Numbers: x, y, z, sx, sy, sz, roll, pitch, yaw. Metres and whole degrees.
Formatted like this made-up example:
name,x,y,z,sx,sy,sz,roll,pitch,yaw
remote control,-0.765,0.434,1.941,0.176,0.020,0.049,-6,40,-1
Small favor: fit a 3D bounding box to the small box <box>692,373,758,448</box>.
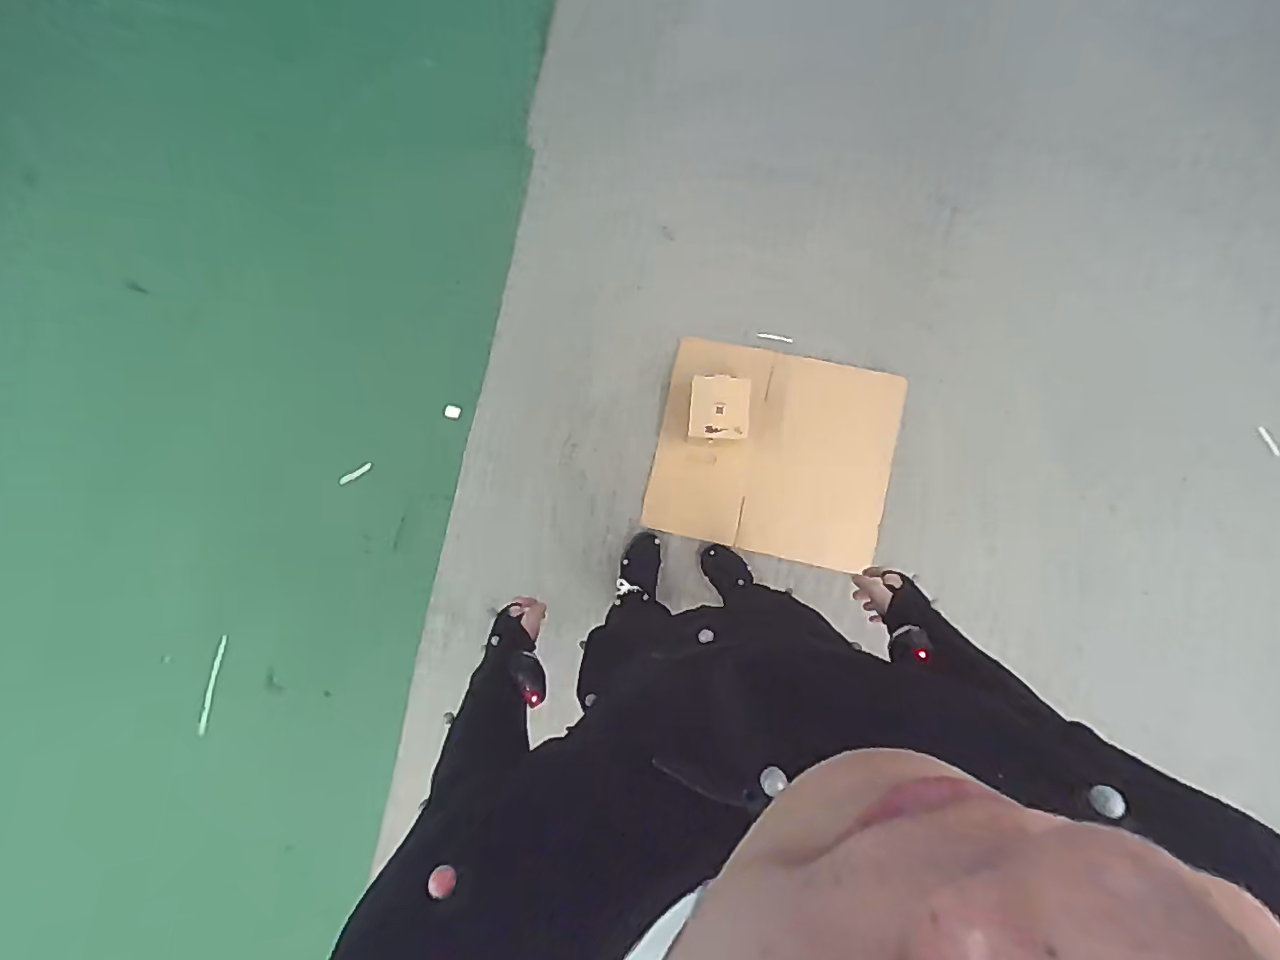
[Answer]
name,x,y,z,sx,sy,sz,roll,pitch,yaw
small box,0.238,-0.196,1.553,0.168,0.176,0.179,5,86,5
